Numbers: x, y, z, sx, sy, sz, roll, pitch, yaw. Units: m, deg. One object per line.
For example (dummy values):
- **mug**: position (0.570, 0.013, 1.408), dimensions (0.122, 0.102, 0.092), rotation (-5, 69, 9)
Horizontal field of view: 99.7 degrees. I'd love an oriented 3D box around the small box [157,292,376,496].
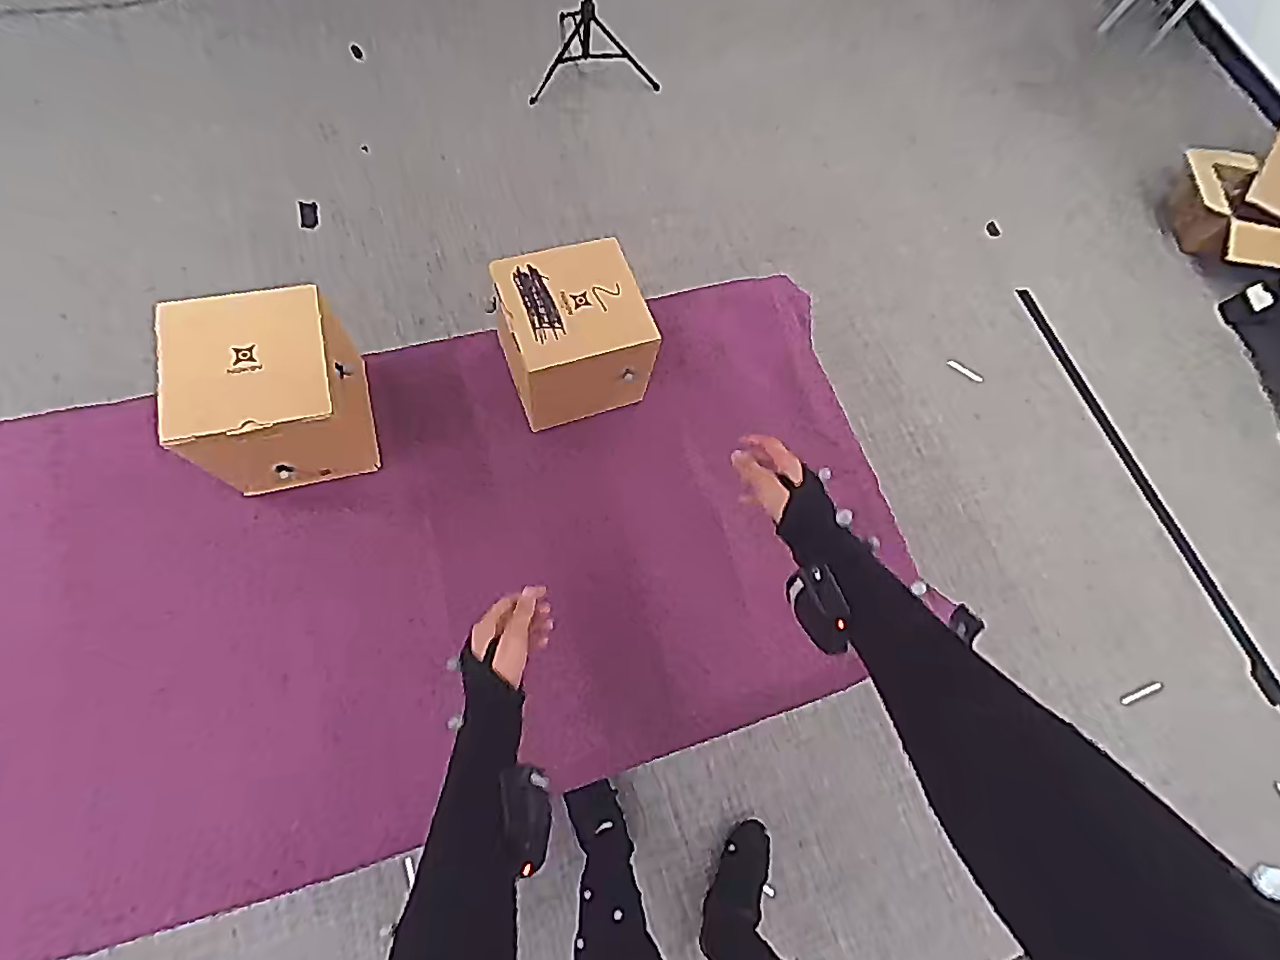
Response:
- **small box**: position (-0.444, -0.099, 0.664), dimensions (0.168, 0.176, 0.179), rotation (-13, 74, -13)
